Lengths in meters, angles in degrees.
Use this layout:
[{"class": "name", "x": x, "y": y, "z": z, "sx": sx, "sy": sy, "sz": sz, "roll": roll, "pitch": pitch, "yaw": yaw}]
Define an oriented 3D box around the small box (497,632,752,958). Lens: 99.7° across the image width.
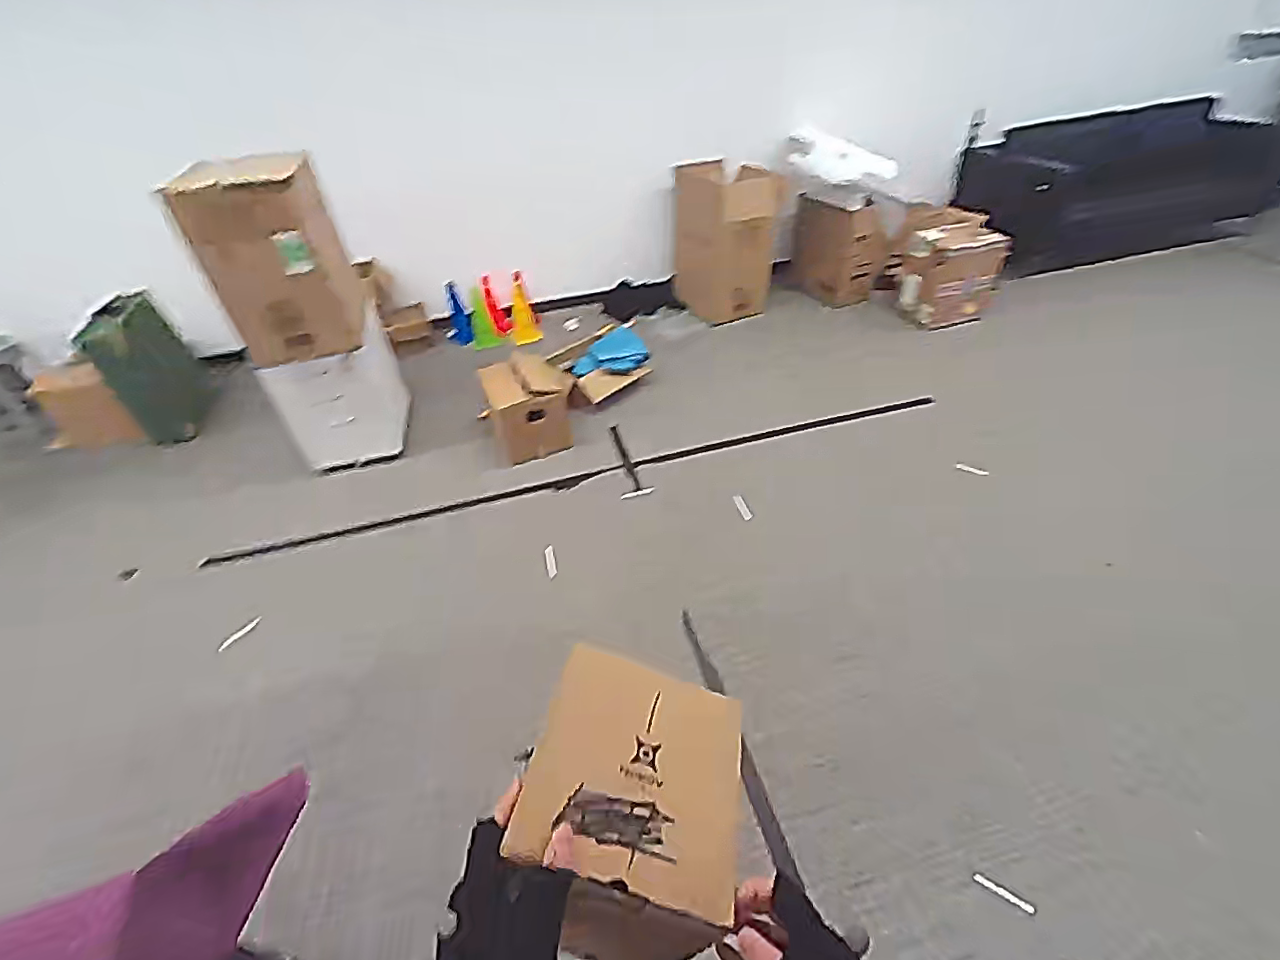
[{"class": "small box", "x": -0.014, "y": 0.276, "z": 0.477, "sx": 0.168, "sy": 0.176, "sz": 0.179, "roll": 21, "pitch": 36, "yaw": -1}]
